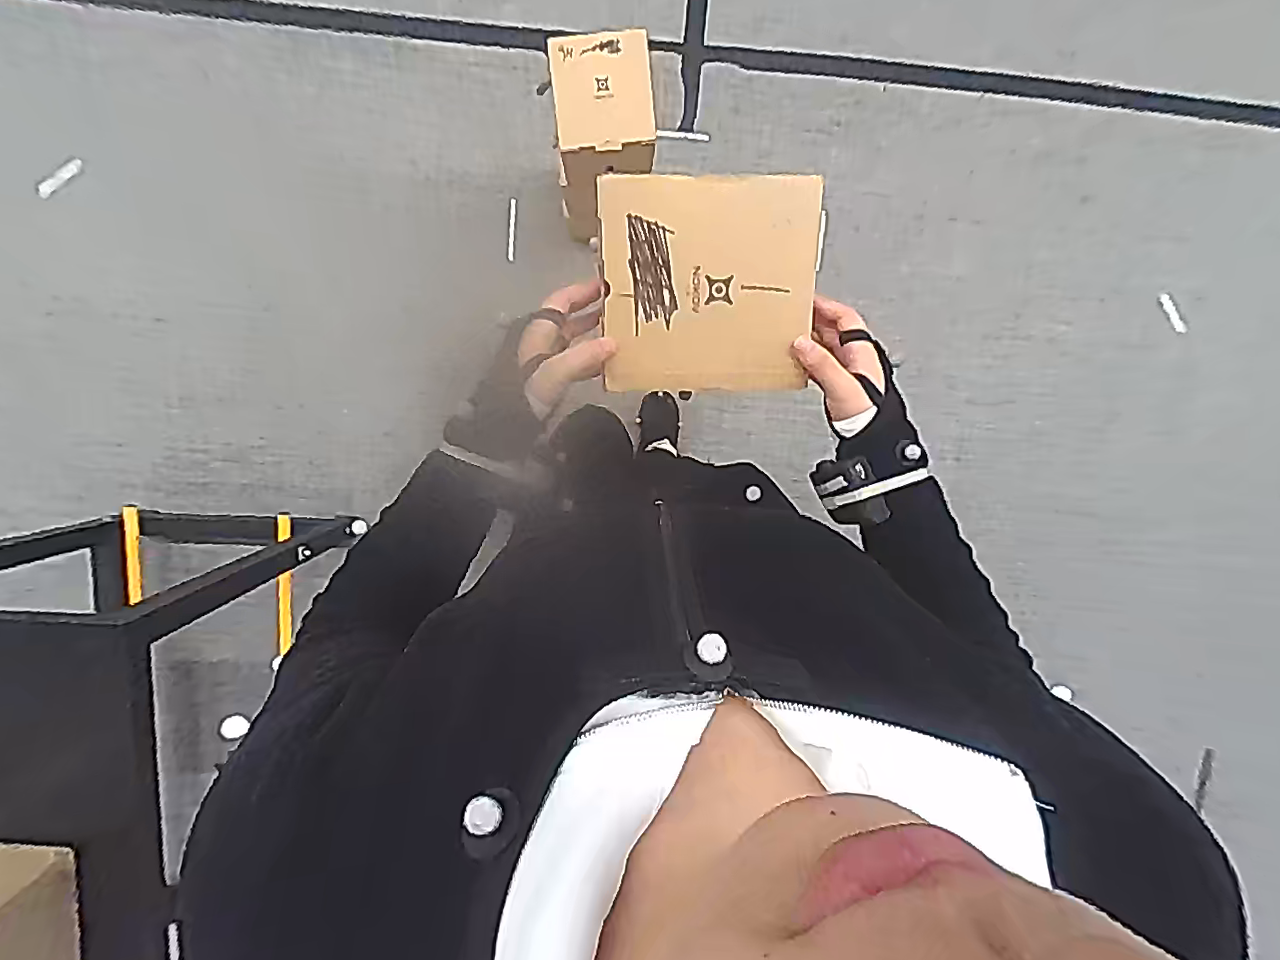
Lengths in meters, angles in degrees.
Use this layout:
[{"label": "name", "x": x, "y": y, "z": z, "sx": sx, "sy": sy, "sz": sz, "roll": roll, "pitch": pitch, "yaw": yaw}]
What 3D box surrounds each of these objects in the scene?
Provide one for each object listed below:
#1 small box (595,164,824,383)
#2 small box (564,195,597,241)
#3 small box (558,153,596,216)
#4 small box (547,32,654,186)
[{"label": "small box", "x": 0.052, "y": -0.183, "z": 0.507, "sx": 0.179, "sy": 0.176, "sz": 0.168, "roll": -1, "pitch": 107, "yaw": -2}, {"label": "small box", "x": -0.094, "y": -0.687, "z": 1.297, "sx": 0.168, "sy": 0.176, "sz": 0.179, "roll": 1, "pitch": 99, "yaw": -1}, {"label": "small box", "x": -0.083, "y": -0.677, "z": 1.132, "sx": 0.168, "sy": 0.176, "sz": 0.179, "roll": -4, "pitch": 98, "yaw": -1}, {"label": "small box", "x": -0.065, "y": -0.649, "z": 0.971, "sx": 0.168, "sy": 0.176, "sz": 0.179, "roll": -6, "pitch": 98, "yaw": -1}]
